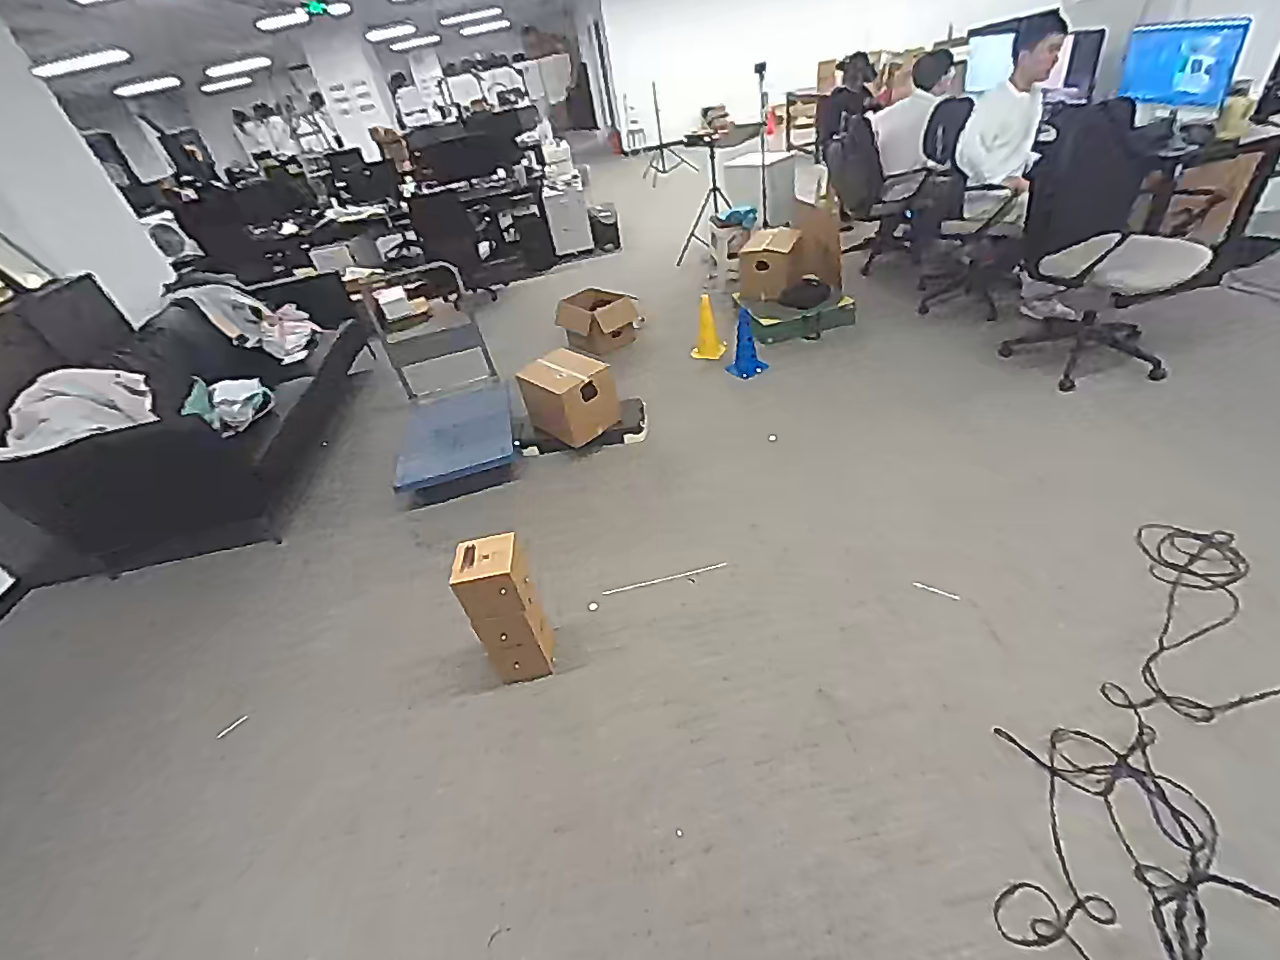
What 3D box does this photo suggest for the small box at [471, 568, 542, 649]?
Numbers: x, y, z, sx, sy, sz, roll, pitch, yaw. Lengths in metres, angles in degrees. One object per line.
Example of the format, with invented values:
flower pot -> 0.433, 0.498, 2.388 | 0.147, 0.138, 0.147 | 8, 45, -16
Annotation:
small box -> -0.410, 0.408, 1.693 | 0.168, 0.176, 0.179 | -11, 38, 1

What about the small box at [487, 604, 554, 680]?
small box -> -0.388, 0.537, 1.793 | 0.179, 0.176, 0.168 | -13, 38, 1
